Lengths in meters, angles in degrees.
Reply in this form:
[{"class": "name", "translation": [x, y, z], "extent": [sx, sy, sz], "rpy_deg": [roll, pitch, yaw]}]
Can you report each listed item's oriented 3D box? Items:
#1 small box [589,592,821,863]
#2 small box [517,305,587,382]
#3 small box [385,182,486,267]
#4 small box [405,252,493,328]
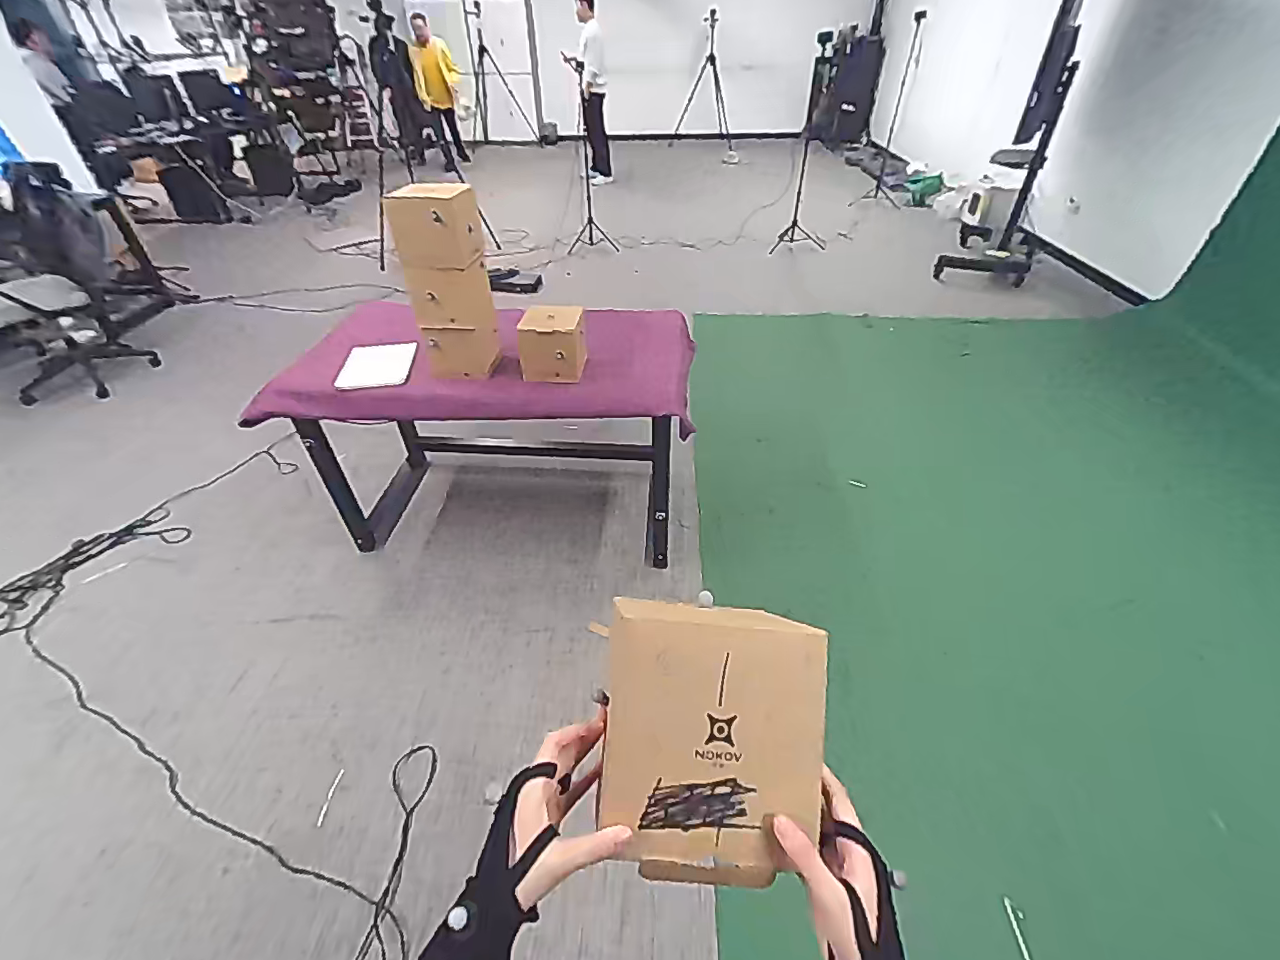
[{"class": "small box", "translation": [0.047, 0.203, 0.491], "extent": [0.168, 0.176, 0.179], "rpy_deg": [7, 81, -4]}, {"class": "small box", "translation": [-0.251, -0.404, 1.603], "extent": [0.168, 0.176, 0.179], "rpy_deg": [3, 39, 4]}, {"class": "small box", "translation": [-0.517, -0.660, 1.401], "extent": [0.179, 0.176, 0.168], "rpy_deg": [4, 38, 6]}, {"class": "small box", "translation": [-0.523, -0.537, 1.511], "extent": [0.168, 0.176, 0.179], "rpy_deg": [3, 39, 4]}]
